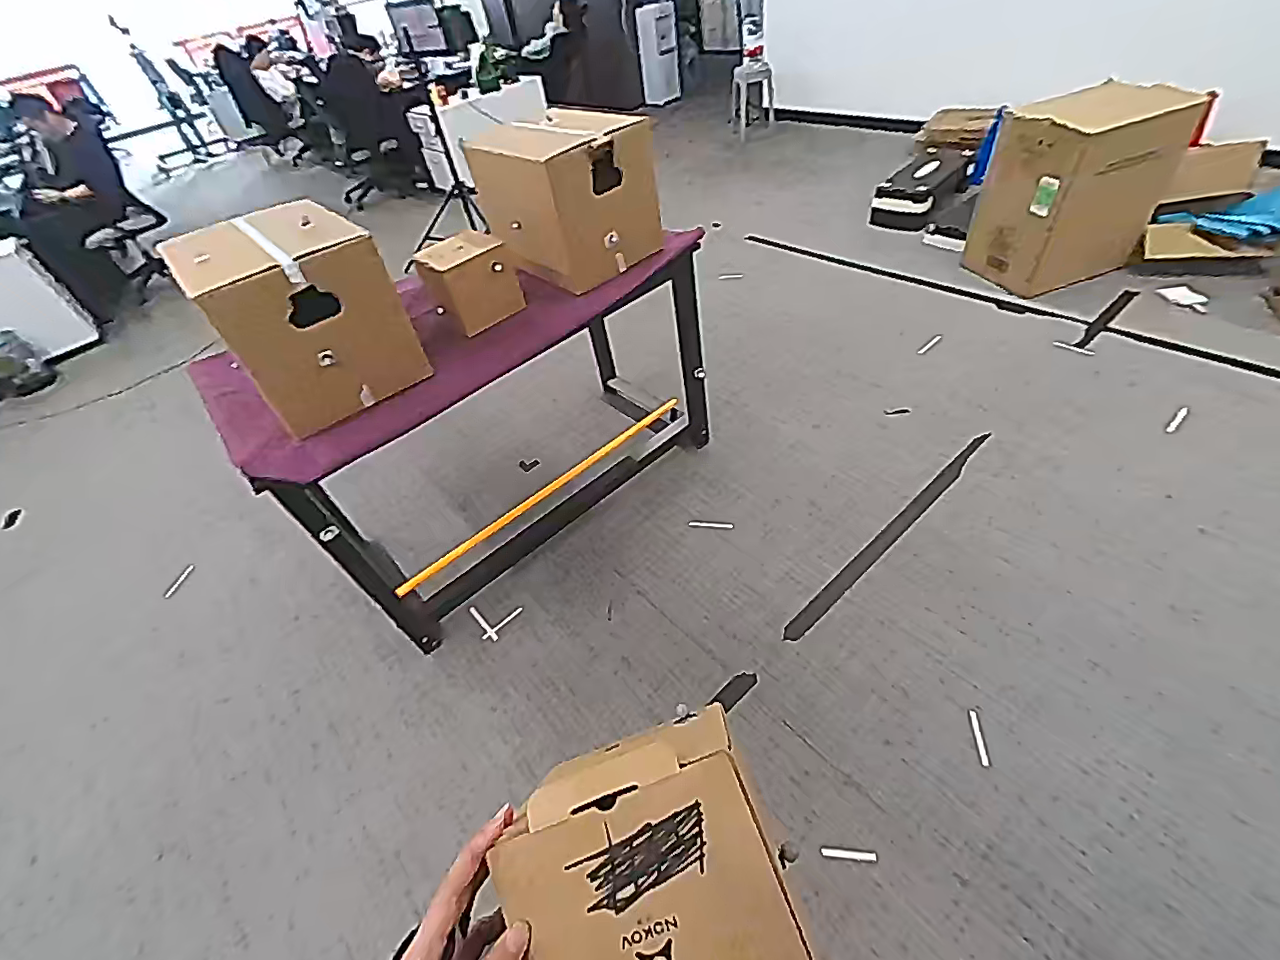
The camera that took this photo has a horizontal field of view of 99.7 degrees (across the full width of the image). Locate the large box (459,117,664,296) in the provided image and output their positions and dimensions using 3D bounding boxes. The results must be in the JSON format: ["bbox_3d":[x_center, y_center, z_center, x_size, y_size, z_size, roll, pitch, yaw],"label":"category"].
[{"bbox_3d":[-0.197,-0.728,1.422,0.320,0.320,0.408,-37,49,-23],"label":"large box"}]
